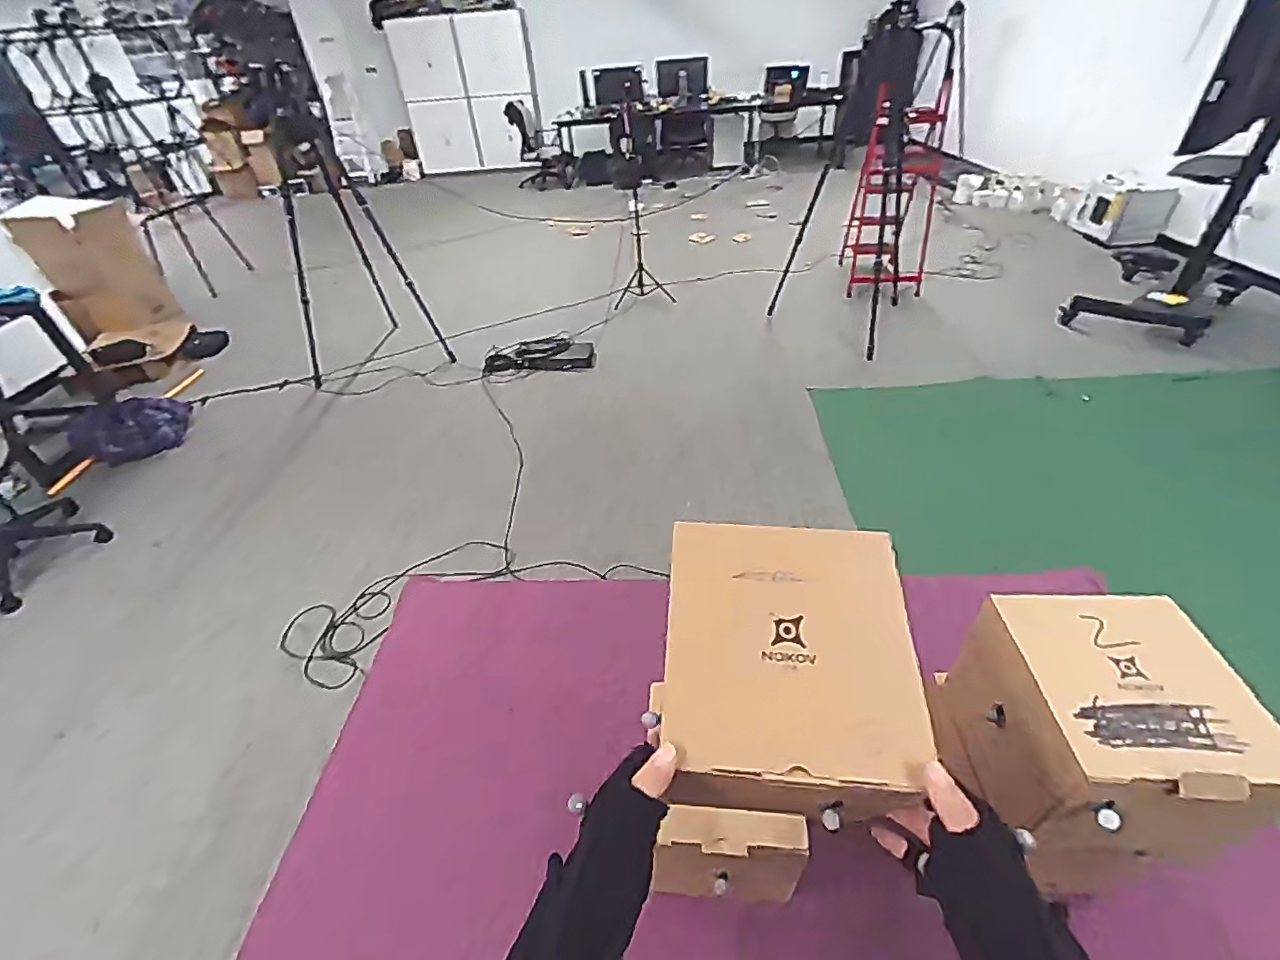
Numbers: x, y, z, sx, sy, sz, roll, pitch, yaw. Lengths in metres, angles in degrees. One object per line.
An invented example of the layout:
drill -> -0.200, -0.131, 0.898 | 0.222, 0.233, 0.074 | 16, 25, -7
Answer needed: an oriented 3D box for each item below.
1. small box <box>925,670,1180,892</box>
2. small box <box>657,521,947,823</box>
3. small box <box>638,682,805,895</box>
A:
small box -> 0.433, 0.345, 0.622 | 0.168, 0.176, 0.179 | 2, 41, 6
small box -> 0.104, 0.153, 0.420 | 0.168, 0.176, 0.179 | 4, 54, 5
small box -> 0.092, 0.364, 0.639 | 0.168, 0.176, 0.179 | 0, 41, 6
